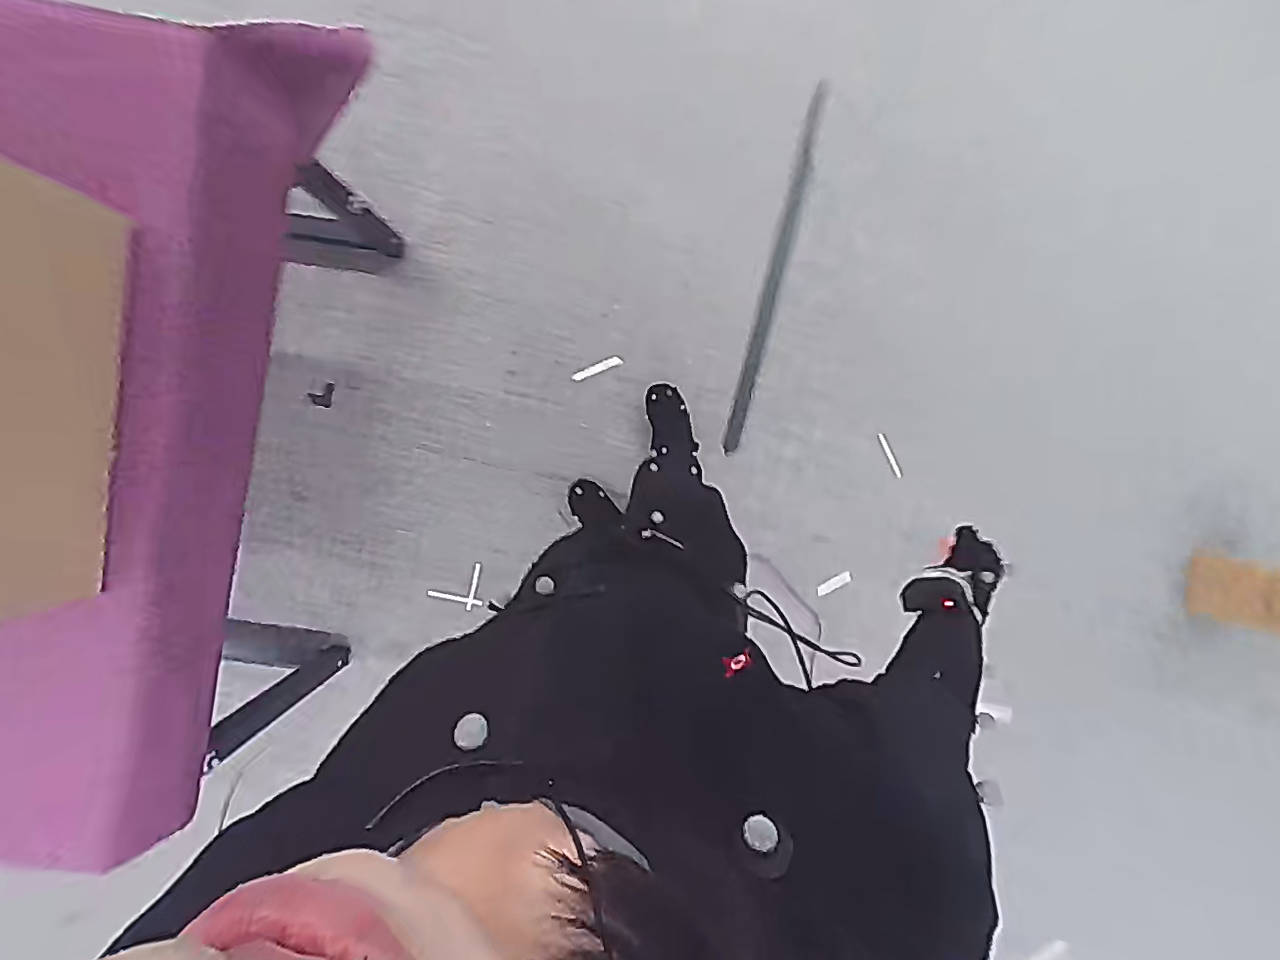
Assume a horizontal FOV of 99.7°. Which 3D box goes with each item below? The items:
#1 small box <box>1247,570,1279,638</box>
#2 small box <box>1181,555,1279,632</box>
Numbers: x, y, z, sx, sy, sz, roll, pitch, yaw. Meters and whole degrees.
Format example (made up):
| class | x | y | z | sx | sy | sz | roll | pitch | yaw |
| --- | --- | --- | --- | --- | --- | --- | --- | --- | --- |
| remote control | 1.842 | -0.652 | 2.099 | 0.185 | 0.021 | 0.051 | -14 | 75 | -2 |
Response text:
| class | x | y | z | sx | sy | sz | roll | pitch | yaw |
| --- | --- | --- | --- | --- | --- | --- | --- | --- | --- |
| small box | 1.683 | 0.326 | 1.338 | 0.179 | 0.176 | 0.168 | 8 | 93 | -3 |
| small box | 1.665 | 0.313 | 1.499 | 0.168 | 0.176 | 0.179 | 5 | 91 | -2 |
